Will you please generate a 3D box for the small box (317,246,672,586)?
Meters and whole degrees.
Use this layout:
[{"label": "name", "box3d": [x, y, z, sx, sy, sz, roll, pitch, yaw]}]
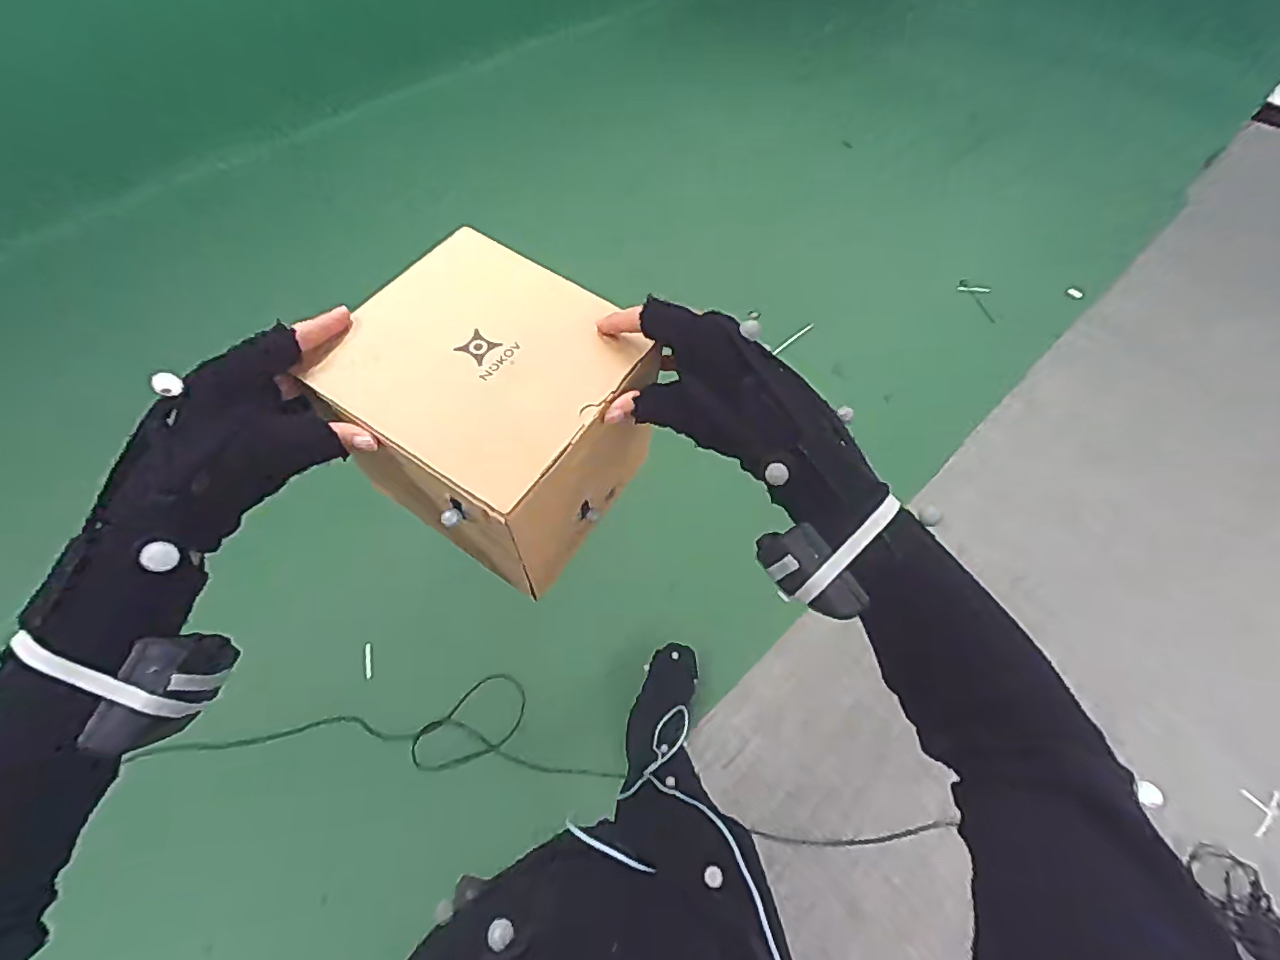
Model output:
[{"label": "small box", "box3d": [-0.099, -0.041, 0.430, 0.179, 0.176, 0.168, 32, 64, 11]}]
